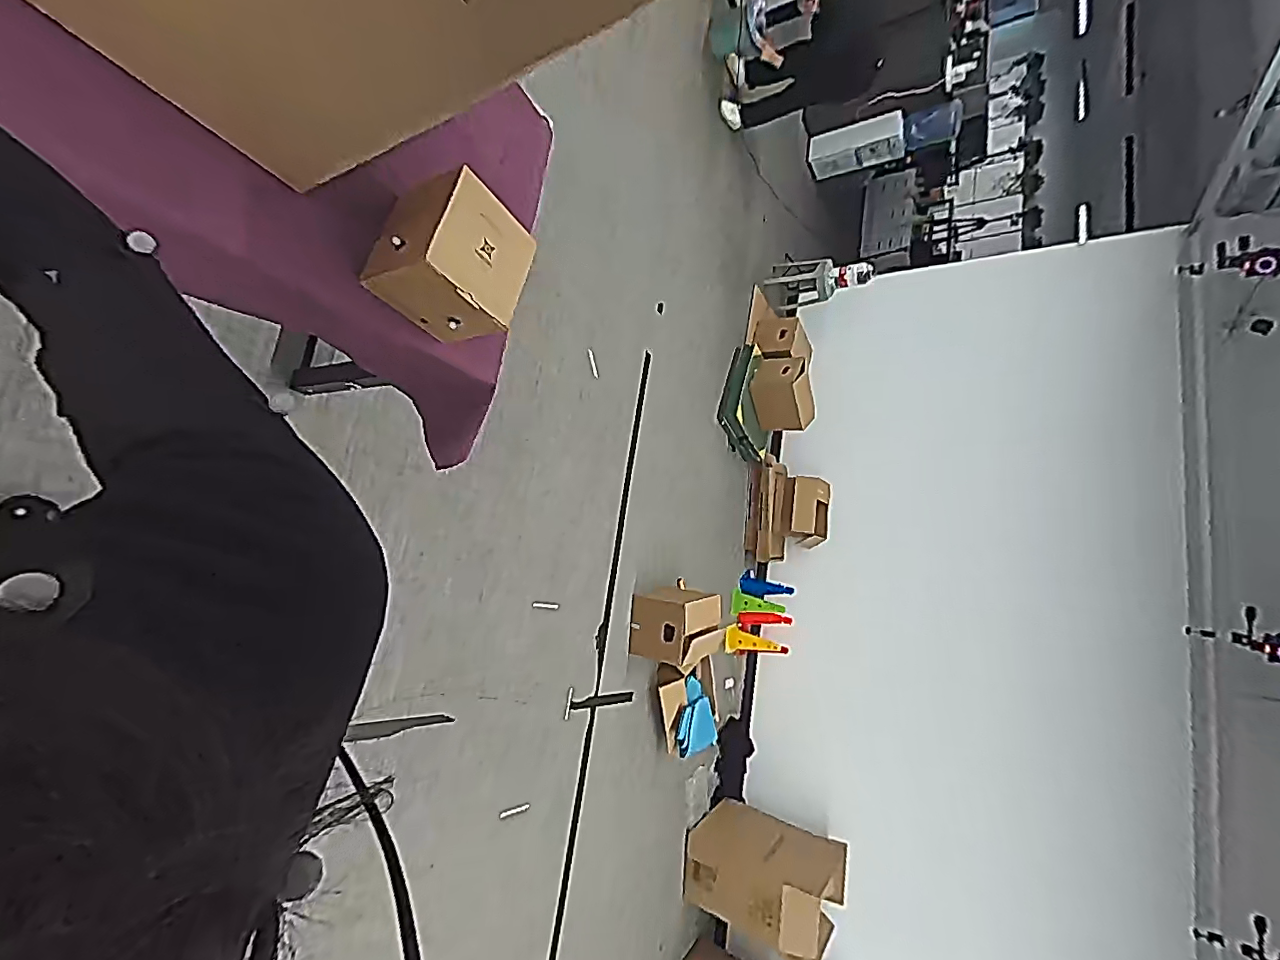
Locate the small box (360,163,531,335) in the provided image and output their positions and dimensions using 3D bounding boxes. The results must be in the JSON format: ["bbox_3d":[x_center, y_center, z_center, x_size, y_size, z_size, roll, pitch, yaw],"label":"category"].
[{"bbox_3d":[-0.307,-0.350,0.857,0.168,0.176,0.179,38,59,-53],"label":"small box"}]
